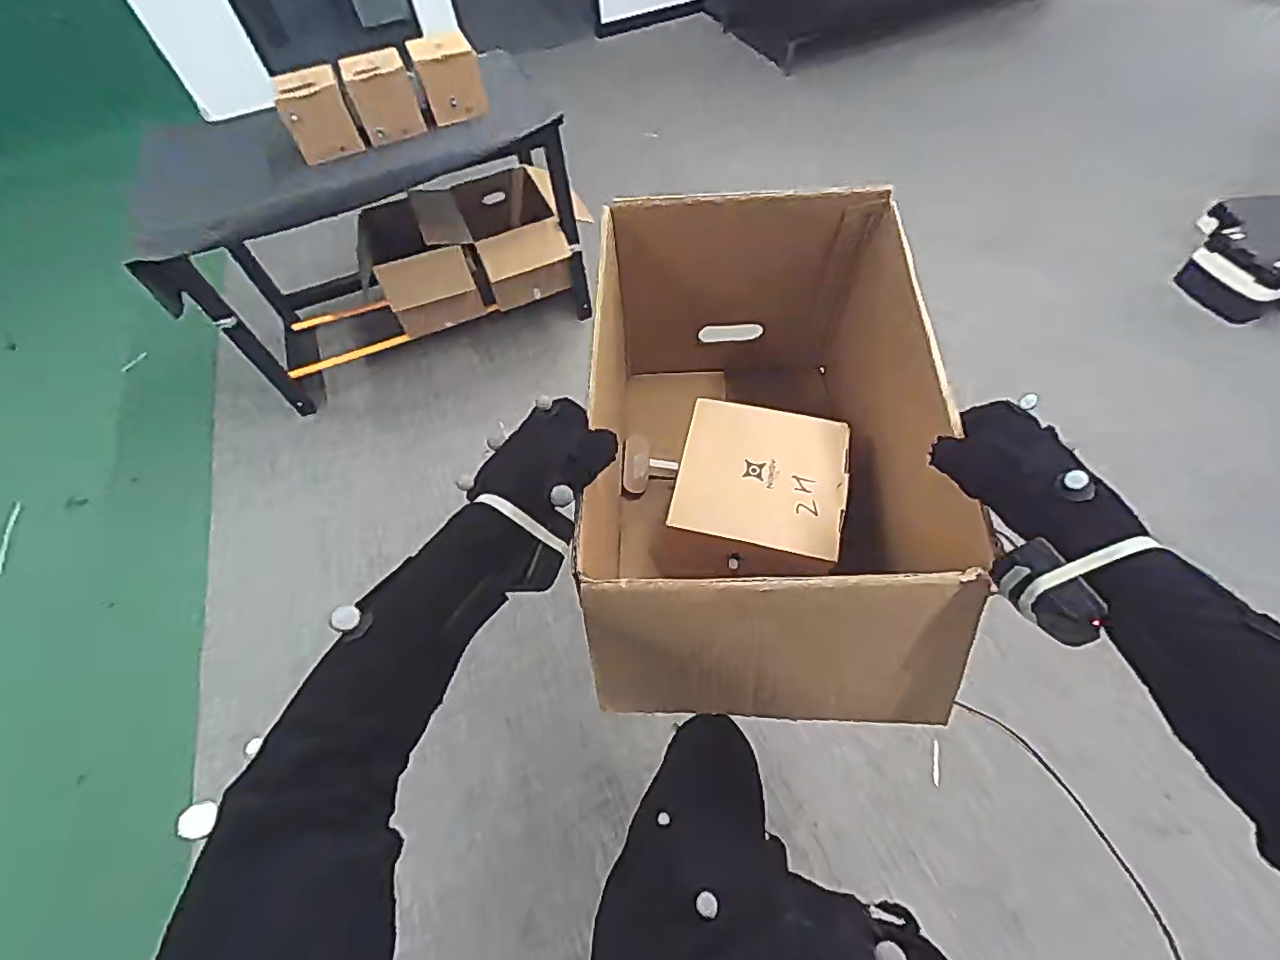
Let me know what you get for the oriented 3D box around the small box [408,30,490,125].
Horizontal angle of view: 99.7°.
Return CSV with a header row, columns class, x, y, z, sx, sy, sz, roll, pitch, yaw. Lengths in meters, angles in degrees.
class,x,y,z,sx,sy,sz,roll,pitch,yaw
small box,-0.565,-1.196,1.609,0.168,0.176,0.179,-21,58,-9
